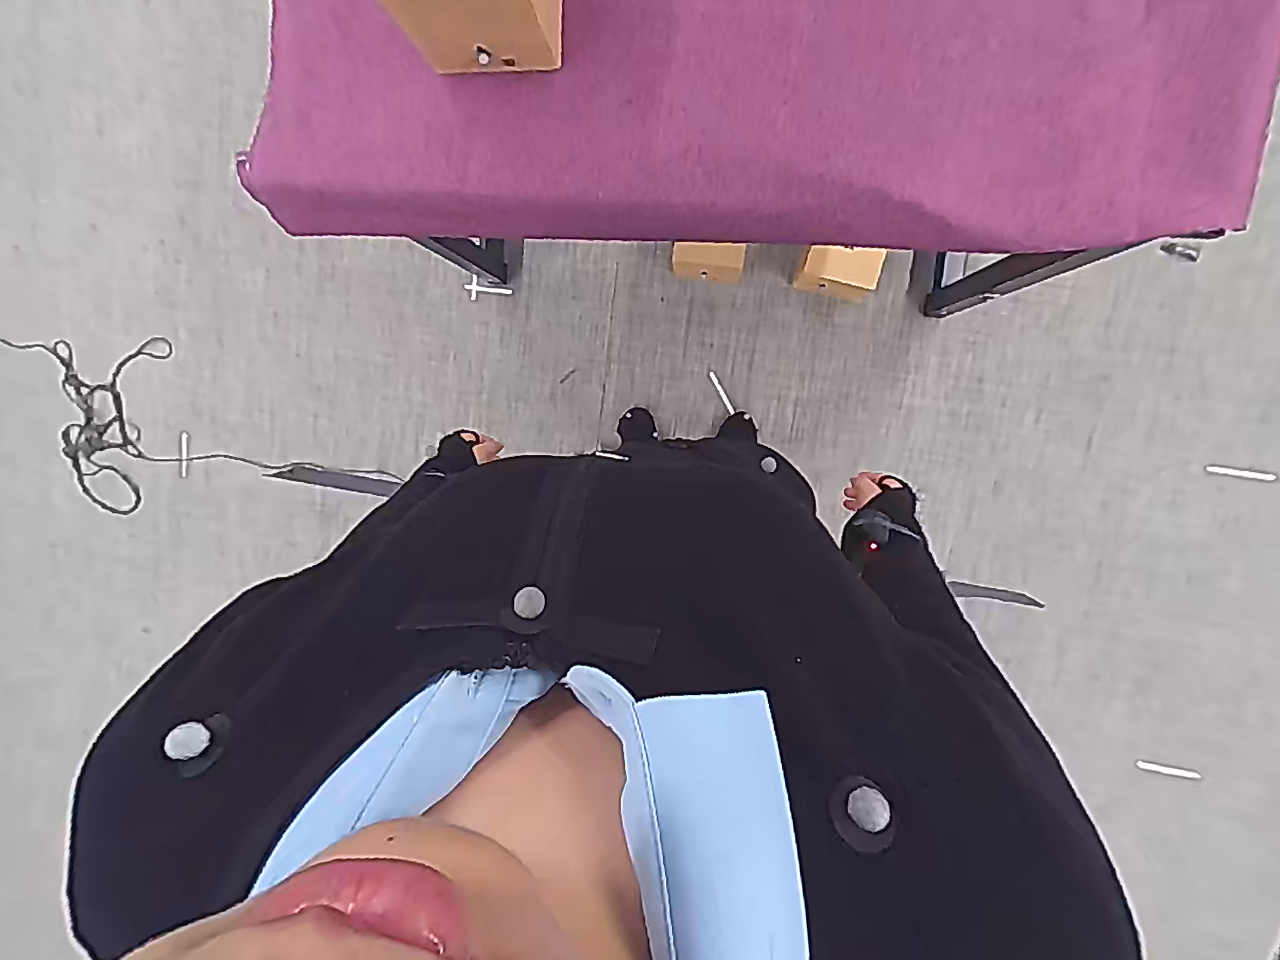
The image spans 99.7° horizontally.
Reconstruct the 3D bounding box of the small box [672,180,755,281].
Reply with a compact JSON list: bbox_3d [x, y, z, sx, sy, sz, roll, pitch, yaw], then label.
[{"bbox_3d":[0.176,-0.596,1.313,0.168,0.176,0.179,9,98,5],"label":"small box"}]

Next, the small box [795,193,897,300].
[{"bbox_3d":[0.479,-0.545,1.288,0.168,0.176,0.179,16,99,4],"label":"small box"}]
